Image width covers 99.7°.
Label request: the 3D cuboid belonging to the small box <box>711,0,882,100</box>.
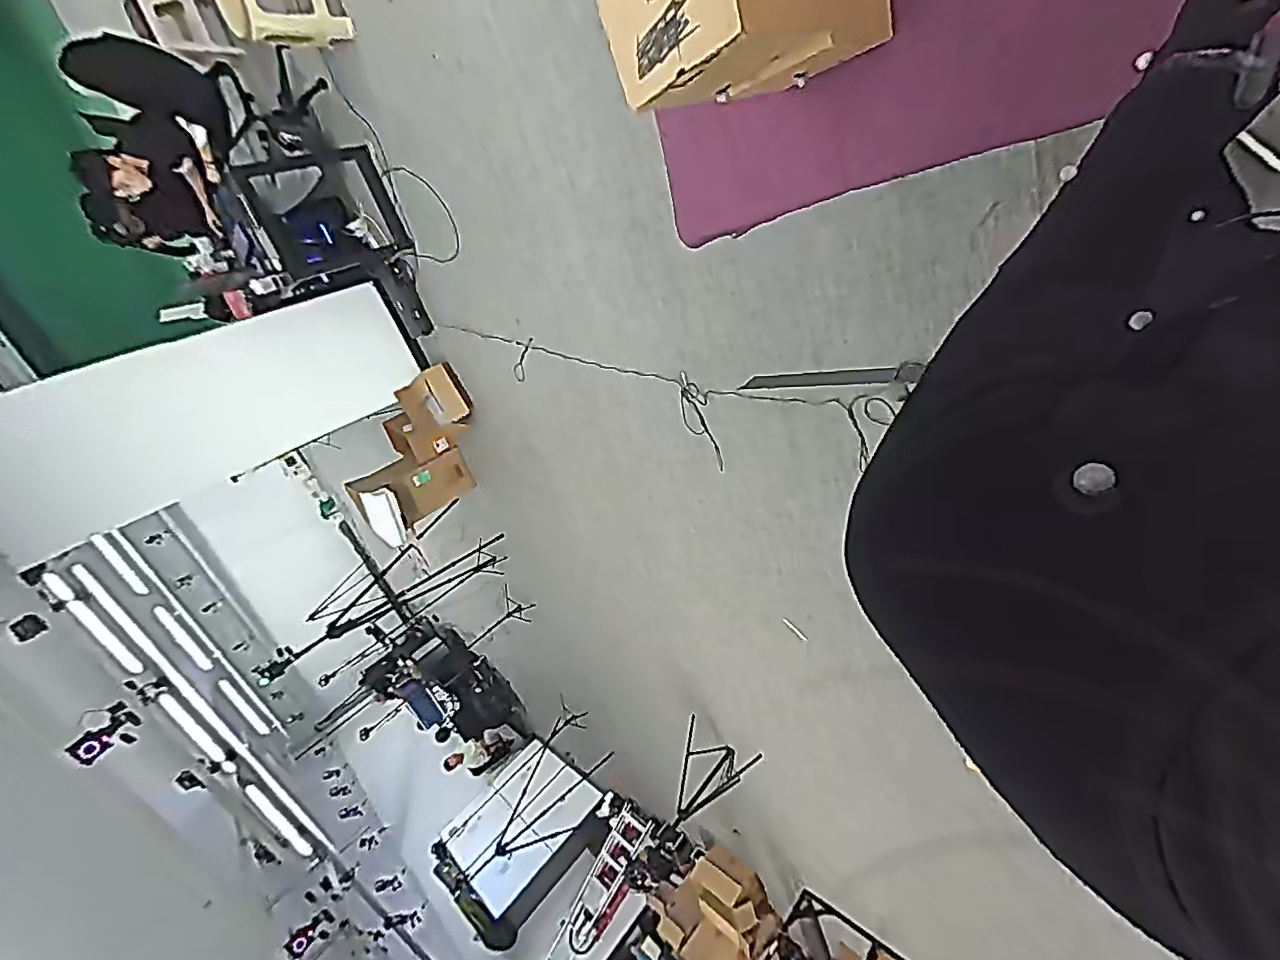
[{"bbox_3d":[0.180,-0.606,0.664,0.168,0.176,0.179,10,127,45],"label":"small box"}]

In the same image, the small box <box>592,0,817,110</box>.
[{"bbox_3d":[0.064,-0.533,0.573,0.168,0.176,0.179,5,123,48],"label":"small box"}]
